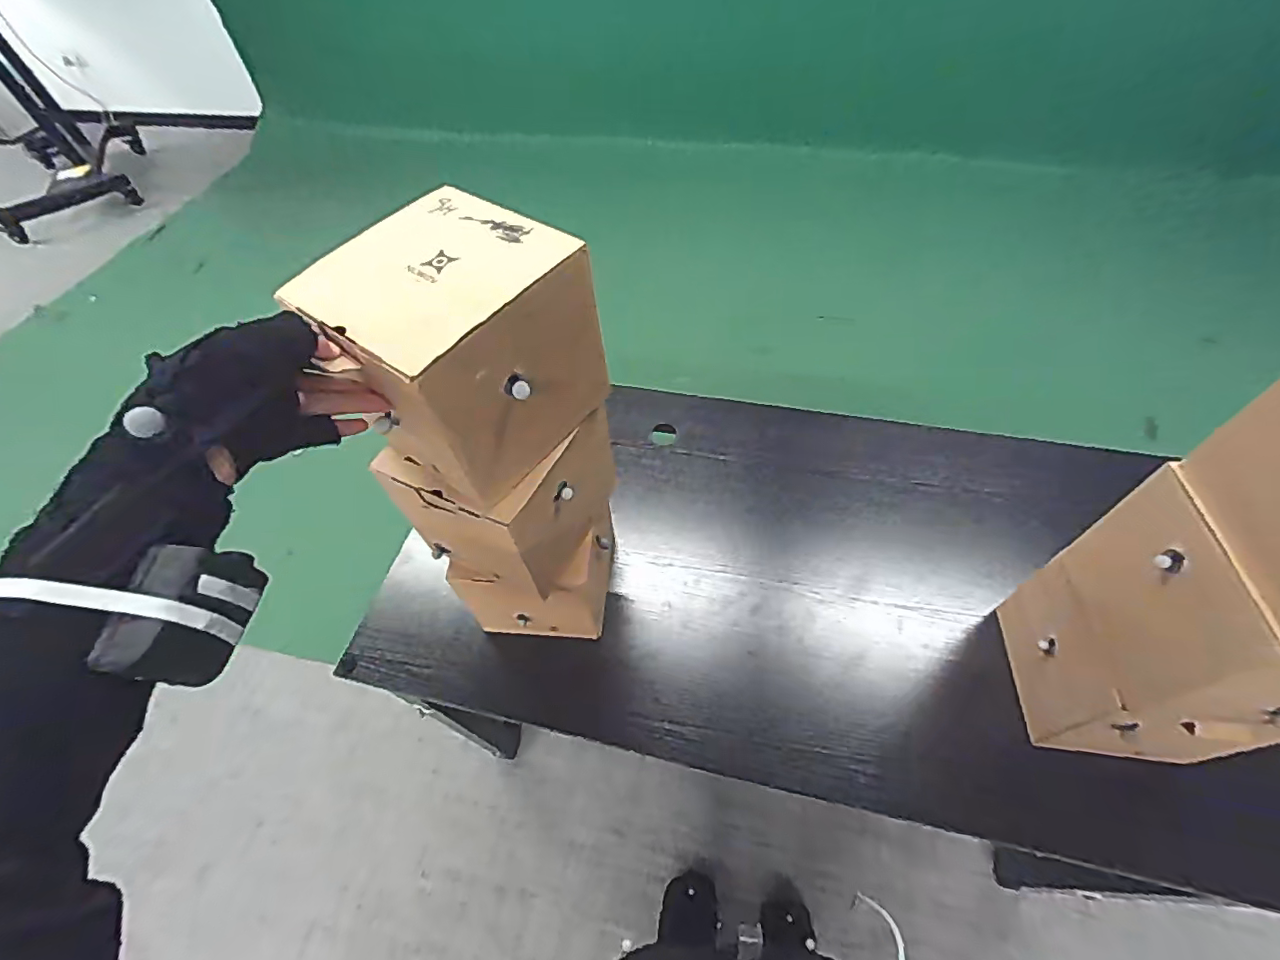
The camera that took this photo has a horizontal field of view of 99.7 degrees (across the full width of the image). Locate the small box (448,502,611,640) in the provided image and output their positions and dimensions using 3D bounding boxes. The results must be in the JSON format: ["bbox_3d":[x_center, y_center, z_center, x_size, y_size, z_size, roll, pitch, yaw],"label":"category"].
[{"bbox_3d":[-0.133,0.100,0.733,0.168,0.176,0.179,2,56,5],"label":"small box"}]

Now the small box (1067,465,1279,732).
[{"bbox_3d":[0.533,0.107,0.480,0.168,0.176,0.179,2,54,6],"label":"small box"}]

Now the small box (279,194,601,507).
[{"bbox_3d":[-0.150,-0.107,0.473,0.168,0.176,0.179,31,65,22],"label":"small box"}]

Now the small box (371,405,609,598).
[{"bbox_3d":[-0.145,0.003,0.600,0.168,0.176,0.179,20,58,16],"label":"small box"}]

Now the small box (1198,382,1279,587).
[{"bbox_3d":[0.531,0.002,0.333,0.168,0.176,0.179,3,53,5],"label":"small box"}]
